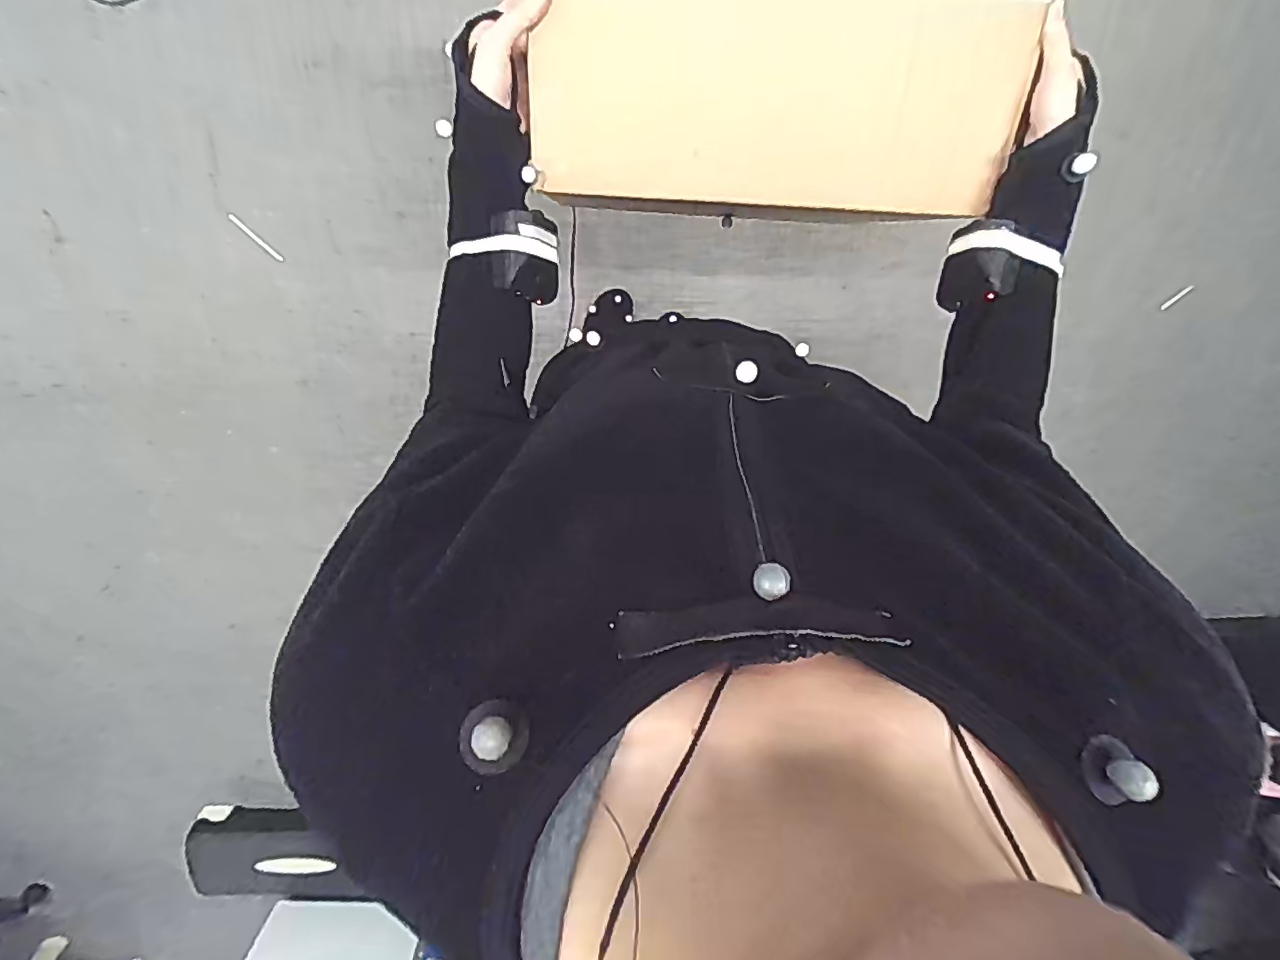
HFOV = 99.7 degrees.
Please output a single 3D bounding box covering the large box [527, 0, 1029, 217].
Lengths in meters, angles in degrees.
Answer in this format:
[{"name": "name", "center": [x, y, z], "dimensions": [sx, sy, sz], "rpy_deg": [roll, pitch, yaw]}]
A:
[{"name": "large box", "center": [0.106, -0.444, 0.551], "dimensions": [0.408, 0.320, 0.320], "rpy_deg": [1, 113, -3]}]
